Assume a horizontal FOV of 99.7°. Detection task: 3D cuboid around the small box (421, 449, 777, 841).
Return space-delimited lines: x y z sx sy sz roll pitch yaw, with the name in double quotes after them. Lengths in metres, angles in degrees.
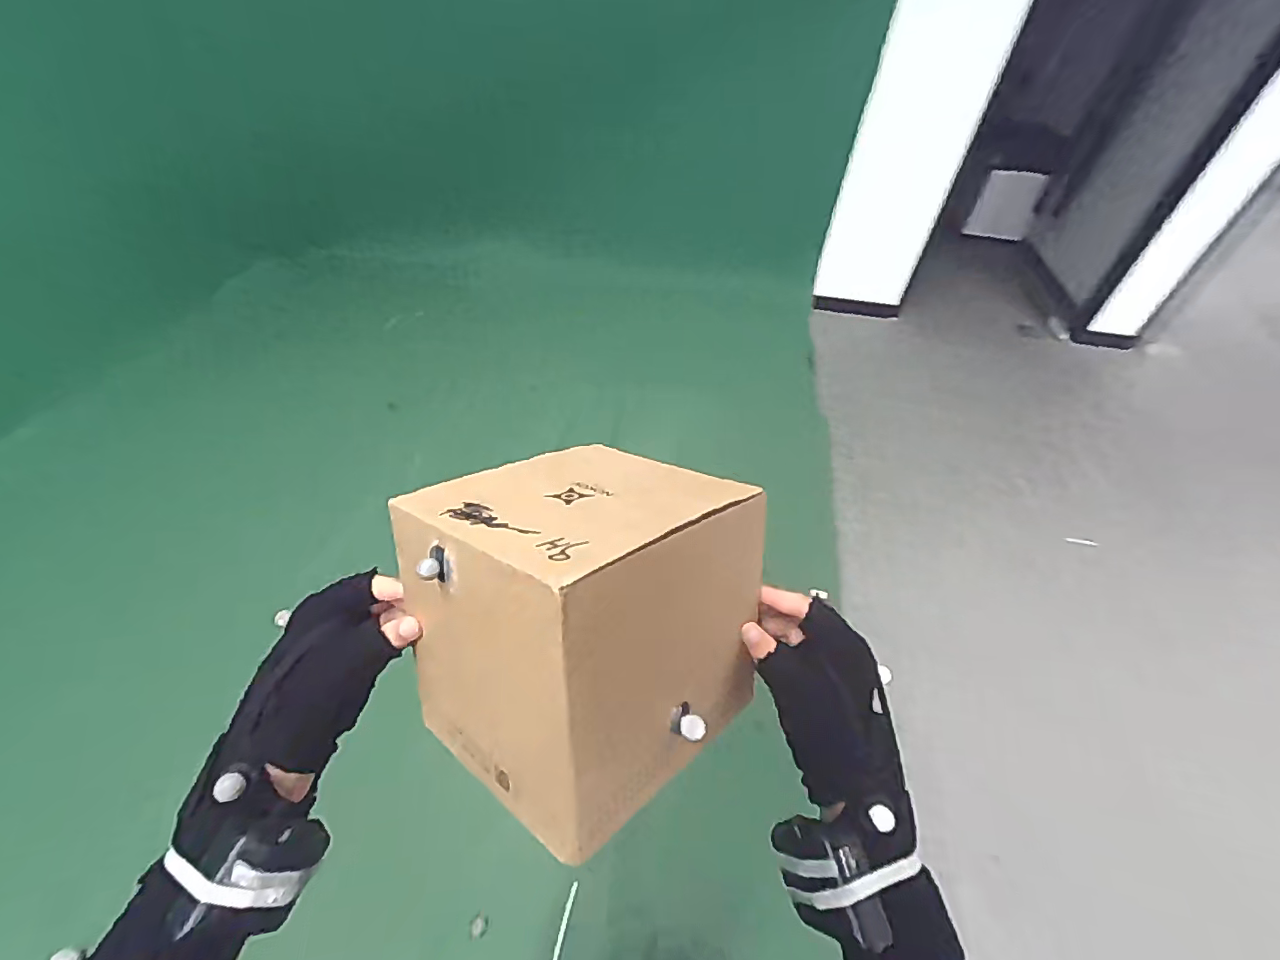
-0.027 0.088 0.375 0.168 0.176 0.179 16 23 41 "small box"
